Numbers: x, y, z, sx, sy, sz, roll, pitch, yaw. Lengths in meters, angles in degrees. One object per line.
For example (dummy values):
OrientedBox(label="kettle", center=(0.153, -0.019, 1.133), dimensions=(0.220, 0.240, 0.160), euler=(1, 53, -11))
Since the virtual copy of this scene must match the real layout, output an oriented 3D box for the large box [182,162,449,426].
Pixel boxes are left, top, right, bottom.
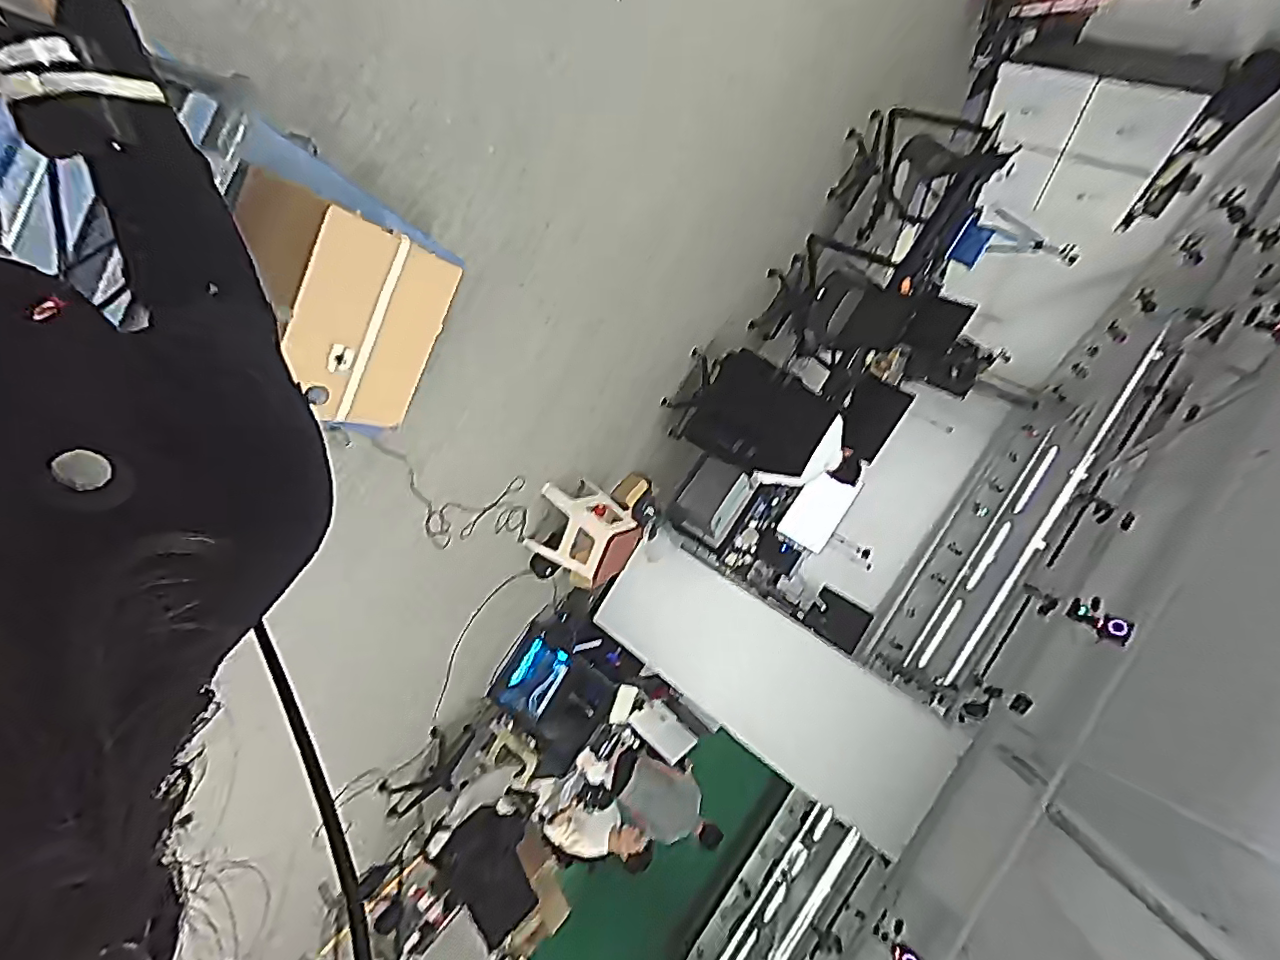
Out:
OrientedBox(label="large box", center=(-0.693, -0.378, 1.168), dimensions=(0.408, 0.320, 0.320), euler=(-62, 155, 11))
